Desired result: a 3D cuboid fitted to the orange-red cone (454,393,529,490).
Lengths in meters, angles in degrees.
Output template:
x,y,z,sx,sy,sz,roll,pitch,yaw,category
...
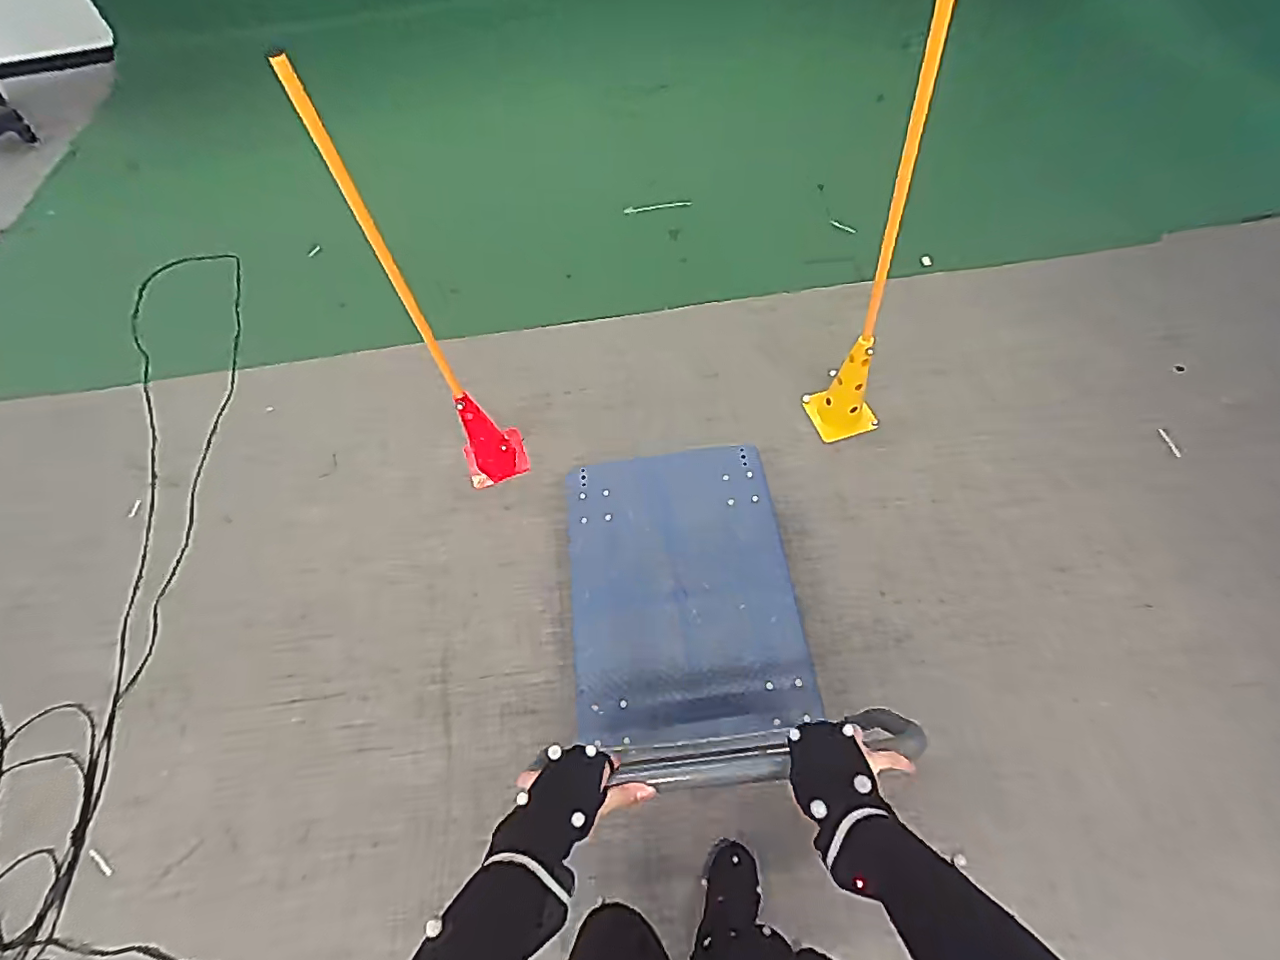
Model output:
x,y,z,sx,sy,sz,roll,pitch,yaw,category
-0.509,-0.152,1.724,0.199,0.360,0.198,-21,60,-4,orange-red cone
